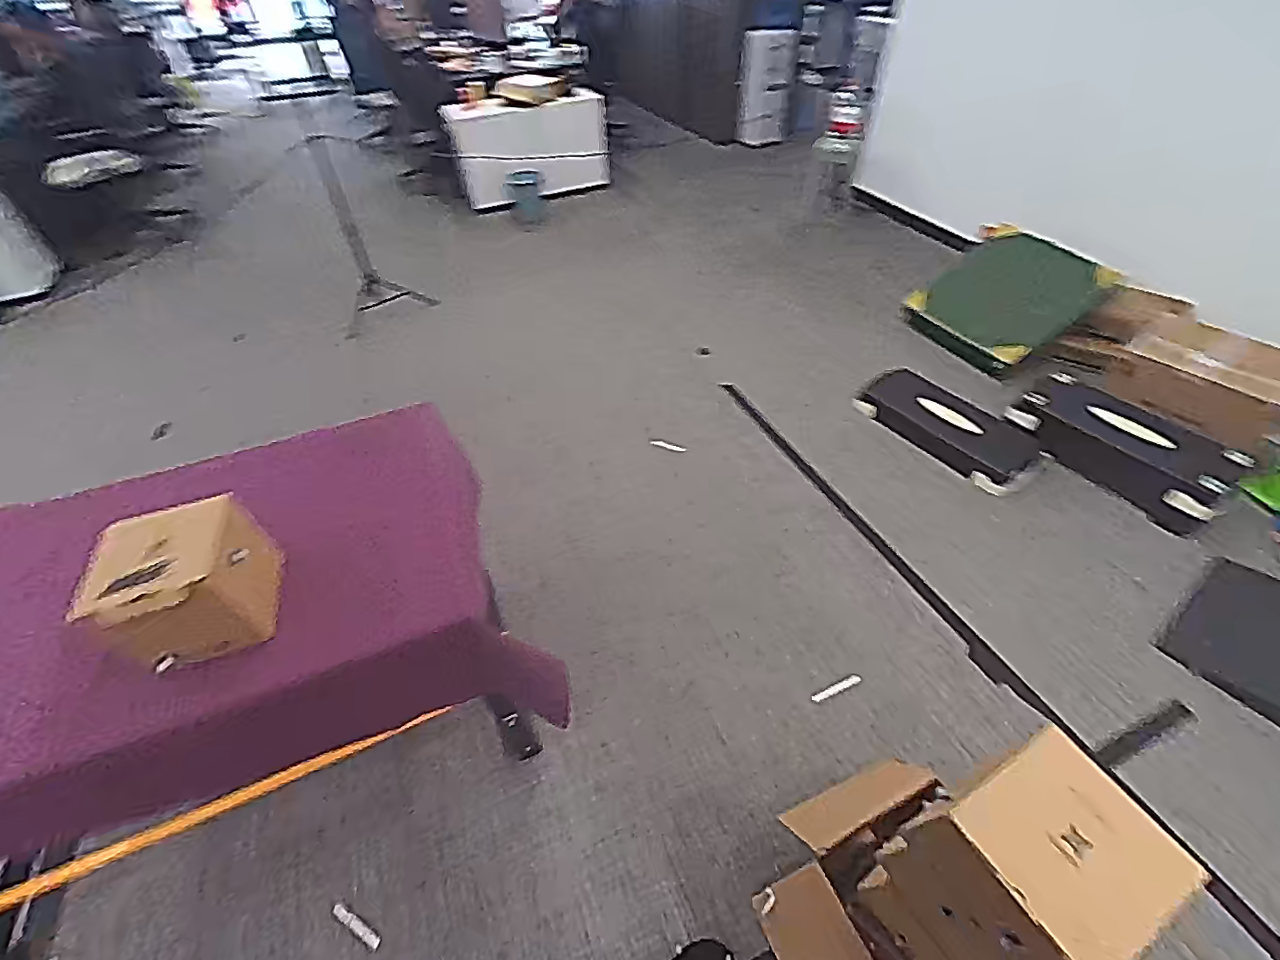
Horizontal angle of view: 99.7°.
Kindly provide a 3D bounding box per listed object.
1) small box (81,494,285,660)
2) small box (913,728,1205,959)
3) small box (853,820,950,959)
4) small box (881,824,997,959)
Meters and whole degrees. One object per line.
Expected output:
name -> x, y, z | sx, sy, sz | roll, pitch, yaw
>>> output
small box -> -0.682, 0.156, 0.837 | 0.168, 0.176, 0.179 | -16, 47, -12
small box -> 0.442, 0.420, 0.609 | 0.179, 0.176, 0.168 | -26, 54, -16
small box -> 0.511, 0.755, 0.965 | 0.168, 0.176, 0.179 | -39, 59, -25
small box -> 0.460, 0.535, 0.724 | 0.168, 0.176, 0.179 | -27, 54, -16
